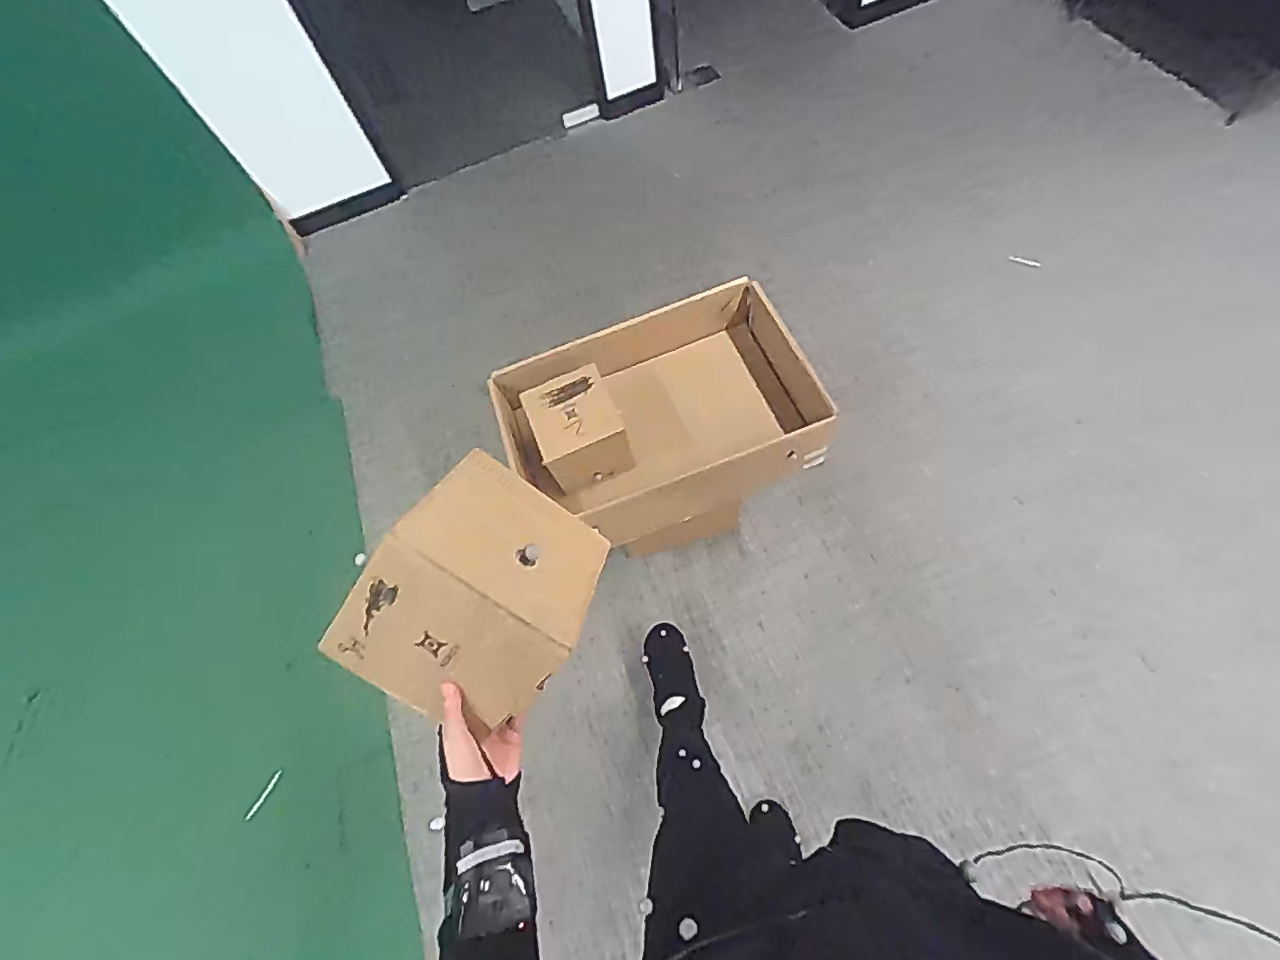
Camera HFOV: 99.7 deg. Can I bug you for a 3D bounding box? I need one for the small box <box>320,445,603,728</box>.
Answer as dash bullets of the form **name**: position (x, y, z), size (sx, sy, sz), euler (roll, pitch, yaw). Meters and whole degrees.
- **small box**: position (-0.157, 0.094, 0.530), size (0.179, 0.176, 0.168), euler (37, 115, -10)
